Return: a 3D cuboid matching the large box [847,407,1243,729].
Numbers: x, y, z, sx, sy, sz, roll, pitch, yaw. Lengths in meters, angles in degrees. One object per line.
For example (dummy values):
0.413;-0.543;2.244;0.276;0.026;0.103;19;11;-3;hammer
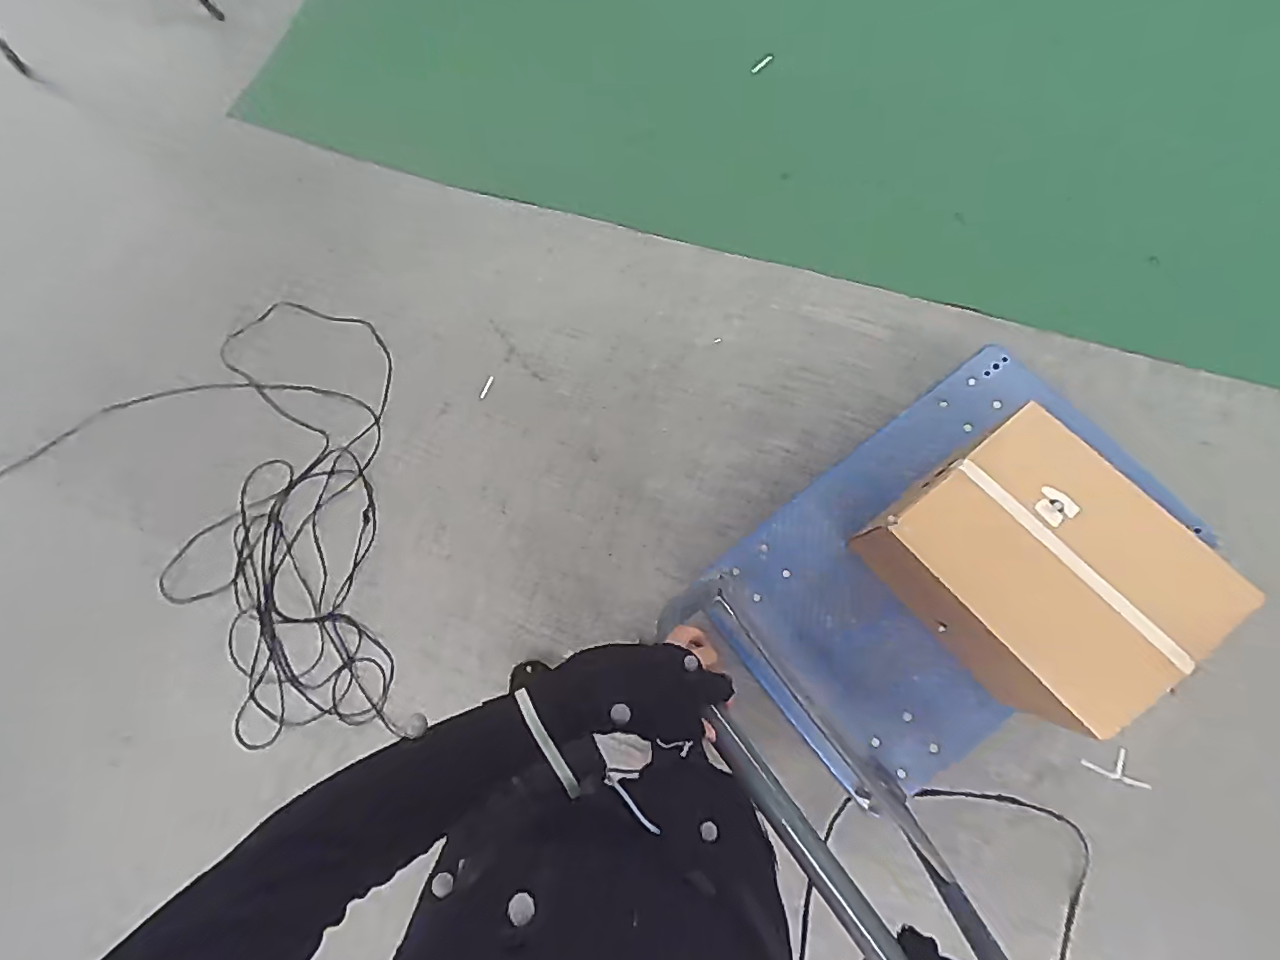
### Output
0.654;0.151;0.968;0.320;0.320;0.408;-41;74;-1;large box
